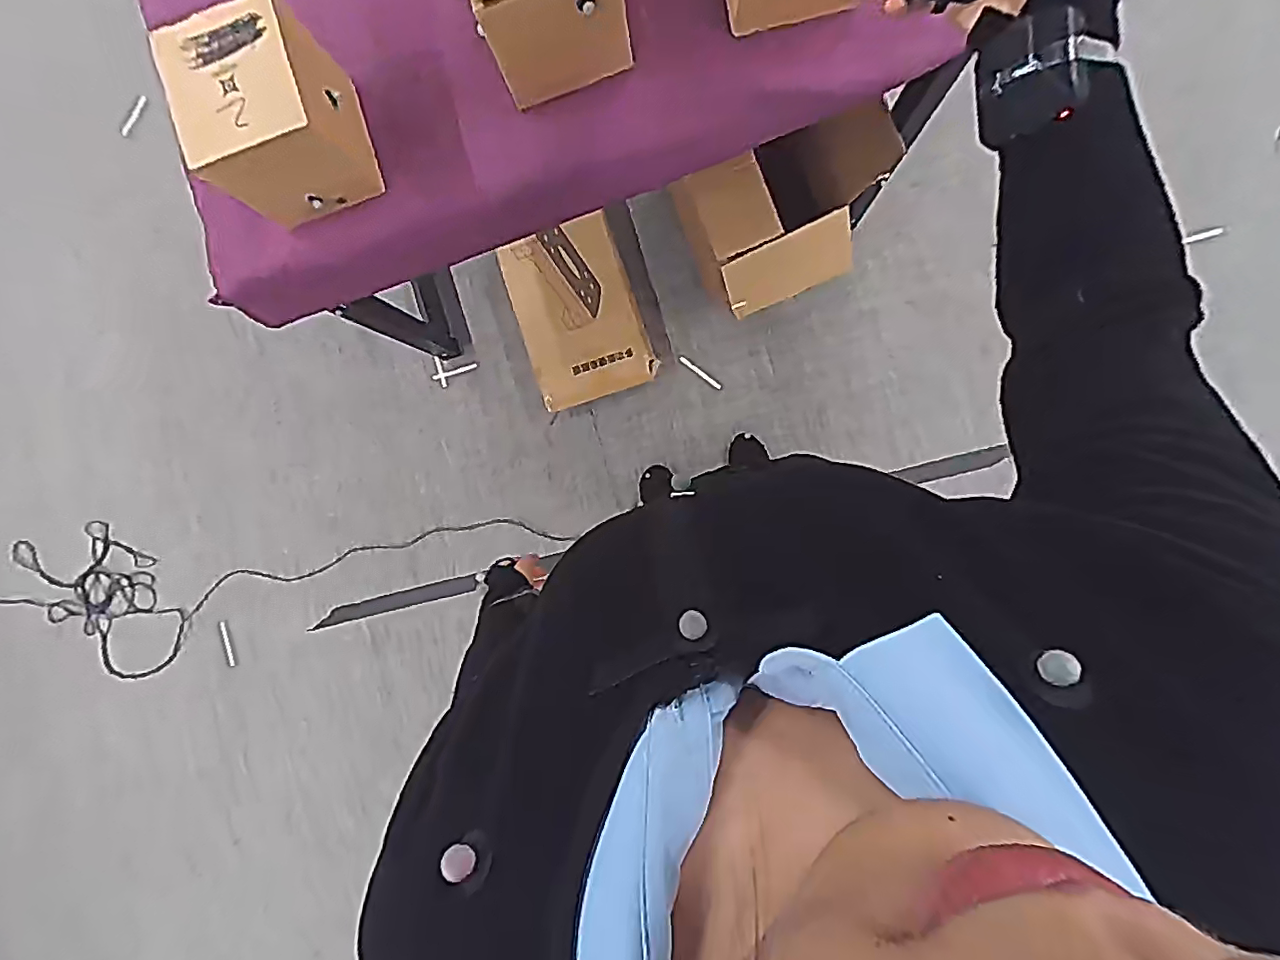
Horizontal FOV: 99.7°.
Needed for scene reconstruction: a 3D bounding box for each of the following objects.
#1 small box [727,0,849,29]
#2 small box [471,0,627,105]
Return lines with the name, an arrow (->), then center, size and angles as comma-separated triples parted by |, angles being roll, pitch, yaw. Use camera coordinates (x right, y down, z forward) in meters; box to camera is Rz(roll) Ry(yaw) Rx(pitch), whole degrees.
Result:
small box -> 0.188, -0.703, 0.656 | 0.179, 0.176, 0.168 | -10, 91, 5
small box -> -0.121, -0.630, 0.685 | 0.179, 0.176, 0.168 | -18, 87, 6
